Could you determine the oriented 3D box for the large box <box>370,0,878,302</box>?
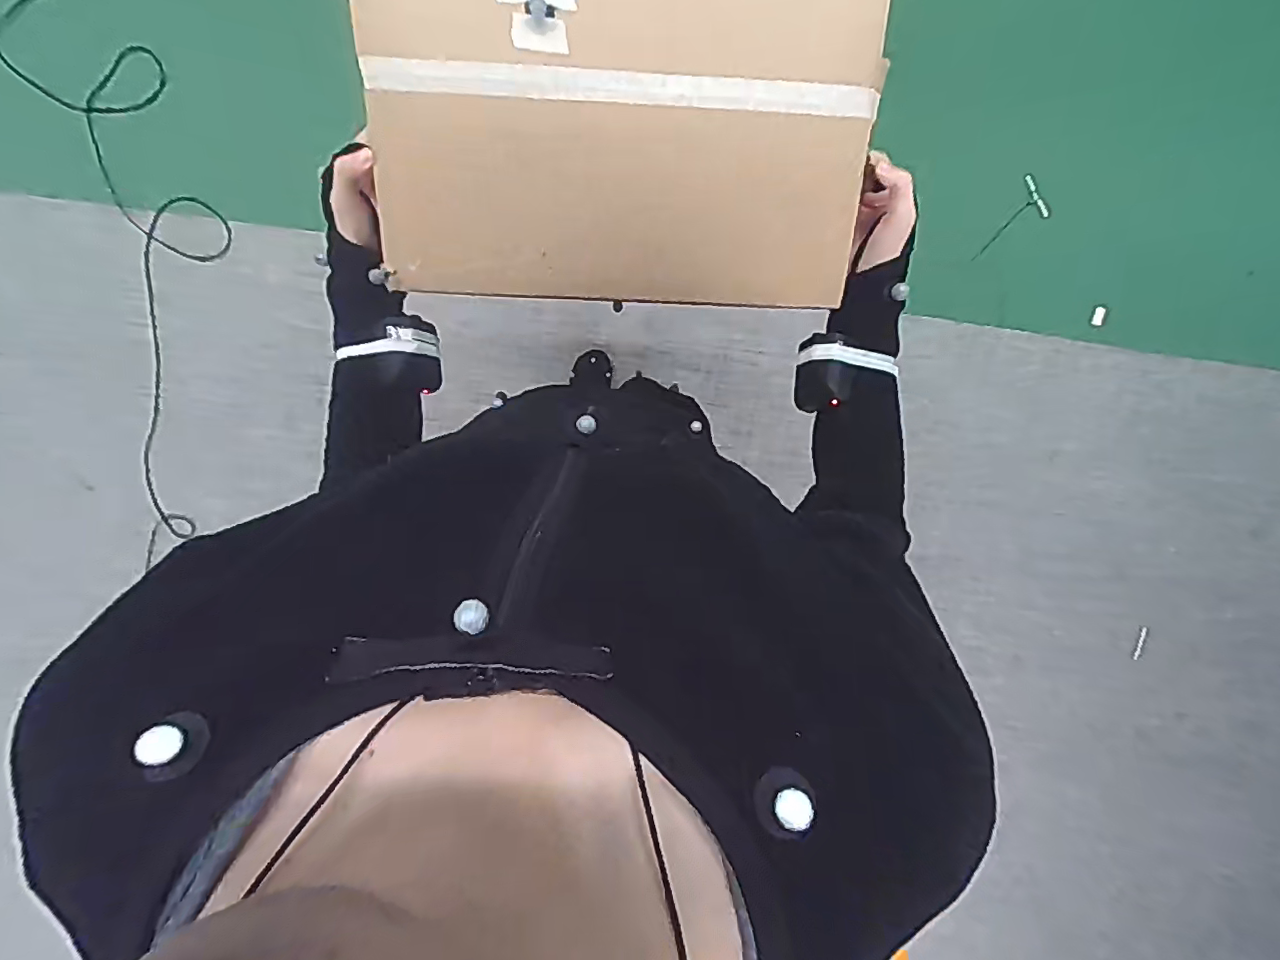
[{"bbox_3d":[-0.017,-0.367,0.581,0.408,0.320,0.320,2,109,-3],"label":"large box"}]
